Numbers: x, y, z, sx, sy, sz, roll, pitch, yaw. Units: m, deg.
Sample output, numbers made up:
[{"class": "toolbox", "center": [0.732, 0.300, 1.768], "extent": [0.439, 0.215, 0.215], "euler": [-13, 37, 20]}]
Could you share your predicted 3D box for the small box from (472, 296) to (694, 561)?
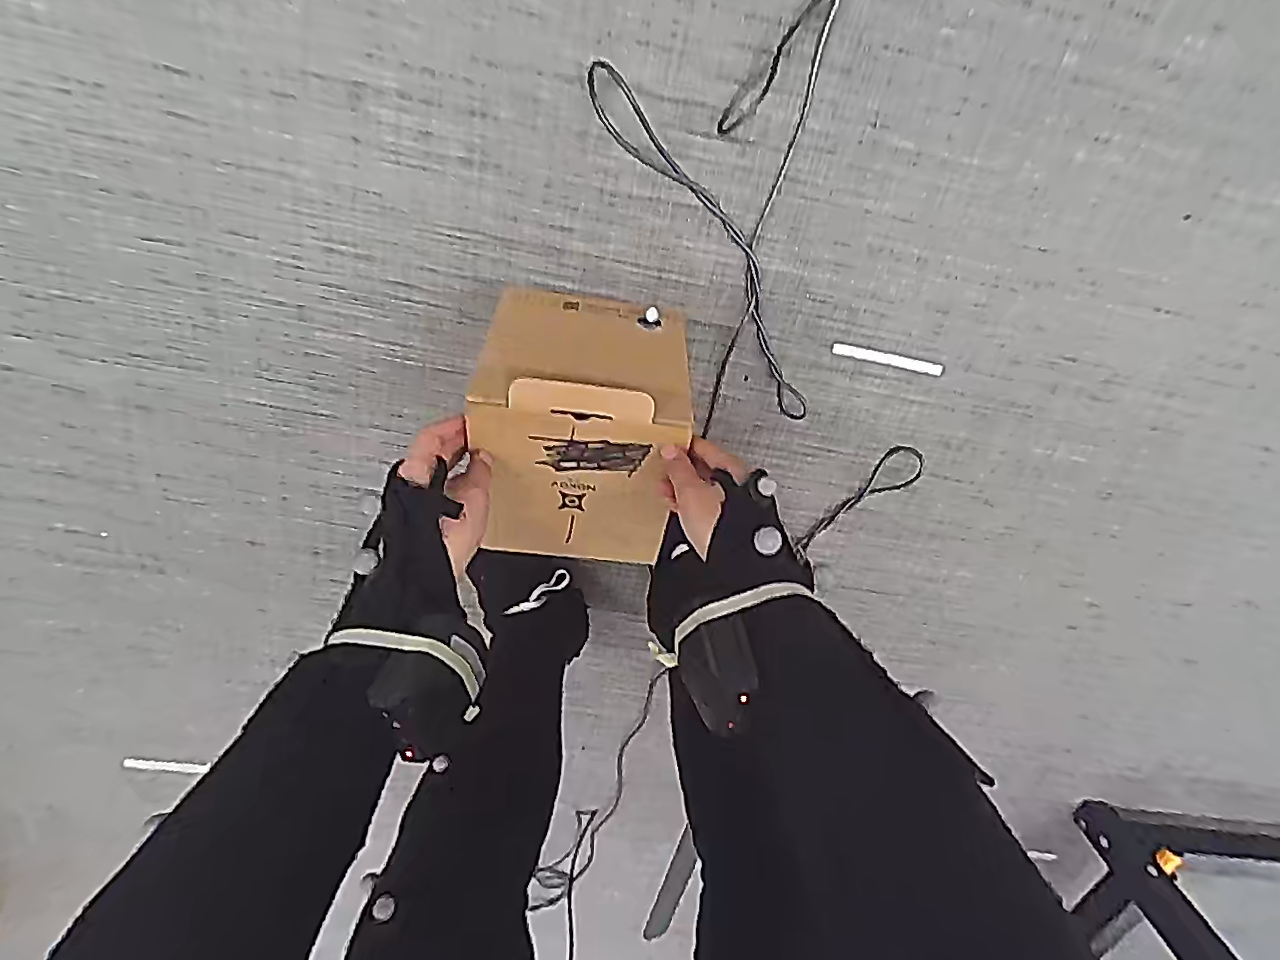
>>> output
[{"class": "small box", "center": [-0.054, -0.049, 0.503], "extent": [0.168, 0.176, 0.179], "euler": [6, 135, -6]}]
